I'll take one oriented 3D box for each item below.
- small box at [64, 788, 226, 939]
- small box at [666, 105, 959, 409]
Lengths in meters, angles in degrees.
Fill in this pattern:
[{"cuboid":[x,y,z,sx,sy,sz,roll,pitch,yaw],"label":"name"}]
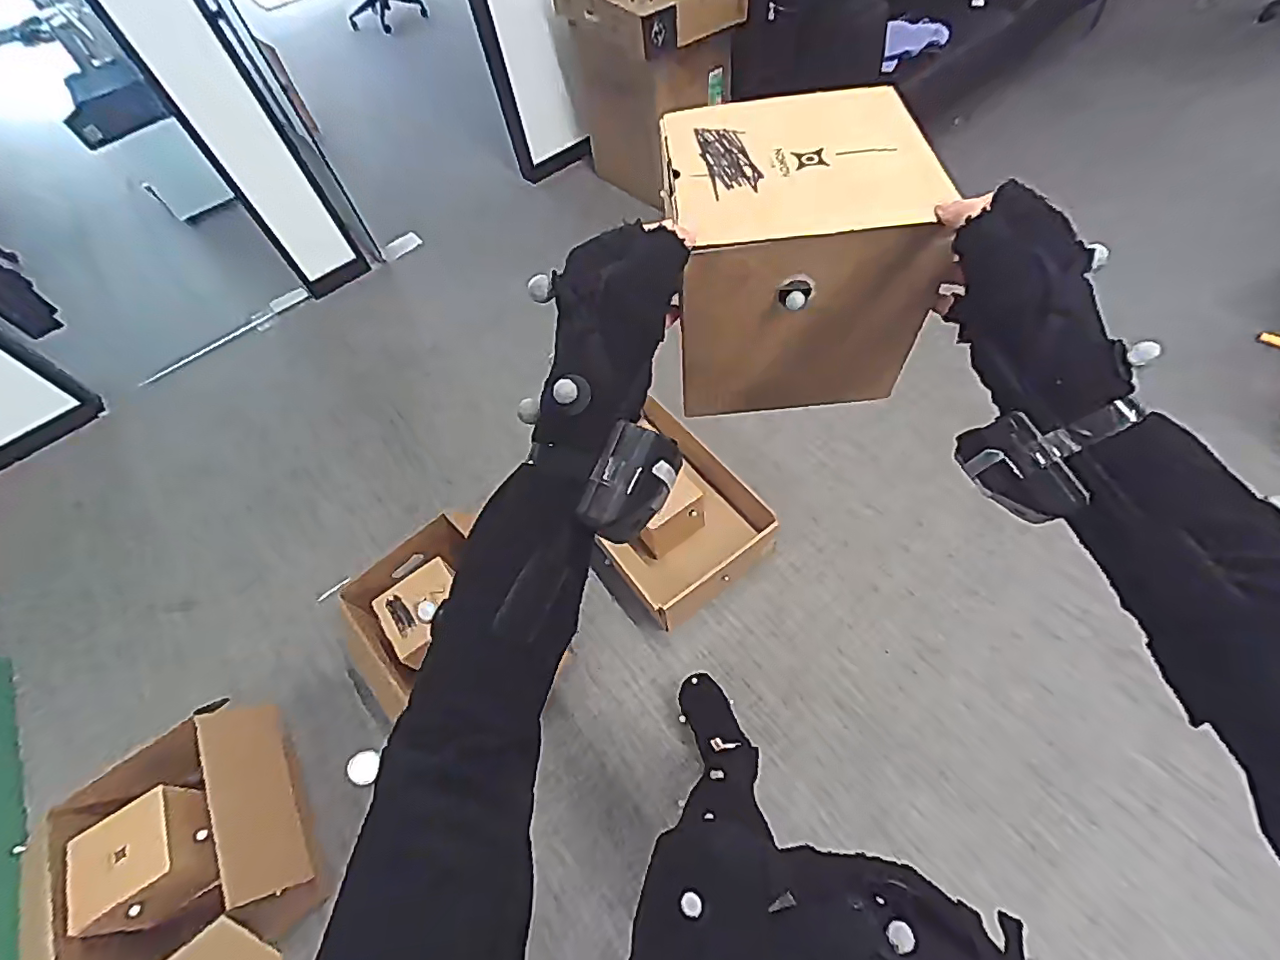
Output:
[{"cuboid":[-0.947,0.734,1.050,0.179,0.176,0.168,-32,58,-14],"label":"small box"},{"cuboid":[0.118,-0.174,0.450,0.179,0.176,0.168,-5,58,2],"label":"small box"}]
